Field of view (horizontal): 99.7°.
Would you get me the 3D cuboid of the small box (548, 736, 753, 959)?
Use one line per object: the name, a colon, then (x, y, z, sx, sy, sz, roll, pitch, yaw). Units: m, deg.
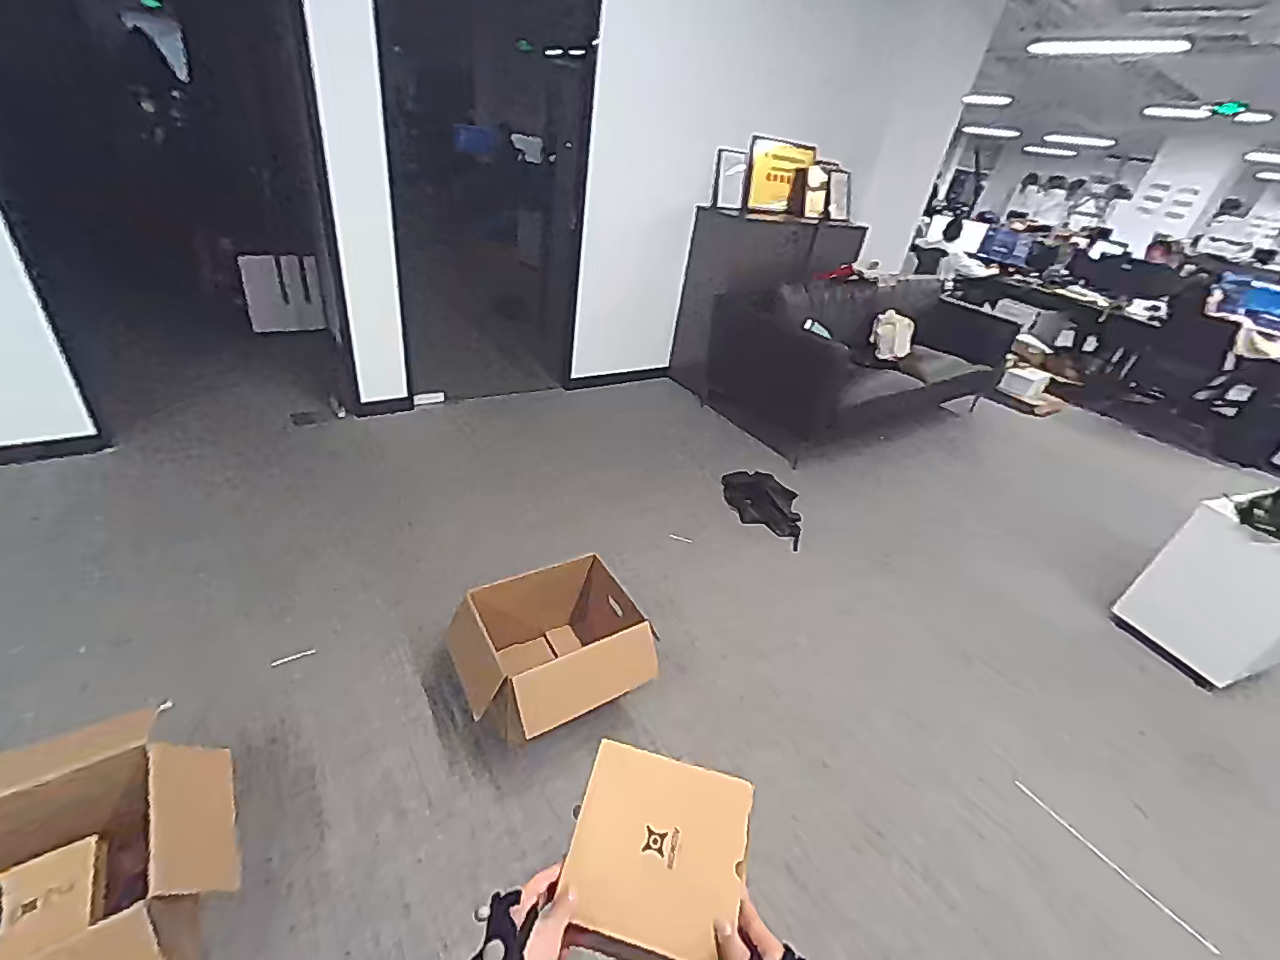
small box: (0.013, 0.417, 0.596, 0.179, 0.176, 0.168, 13, 44, 8)
